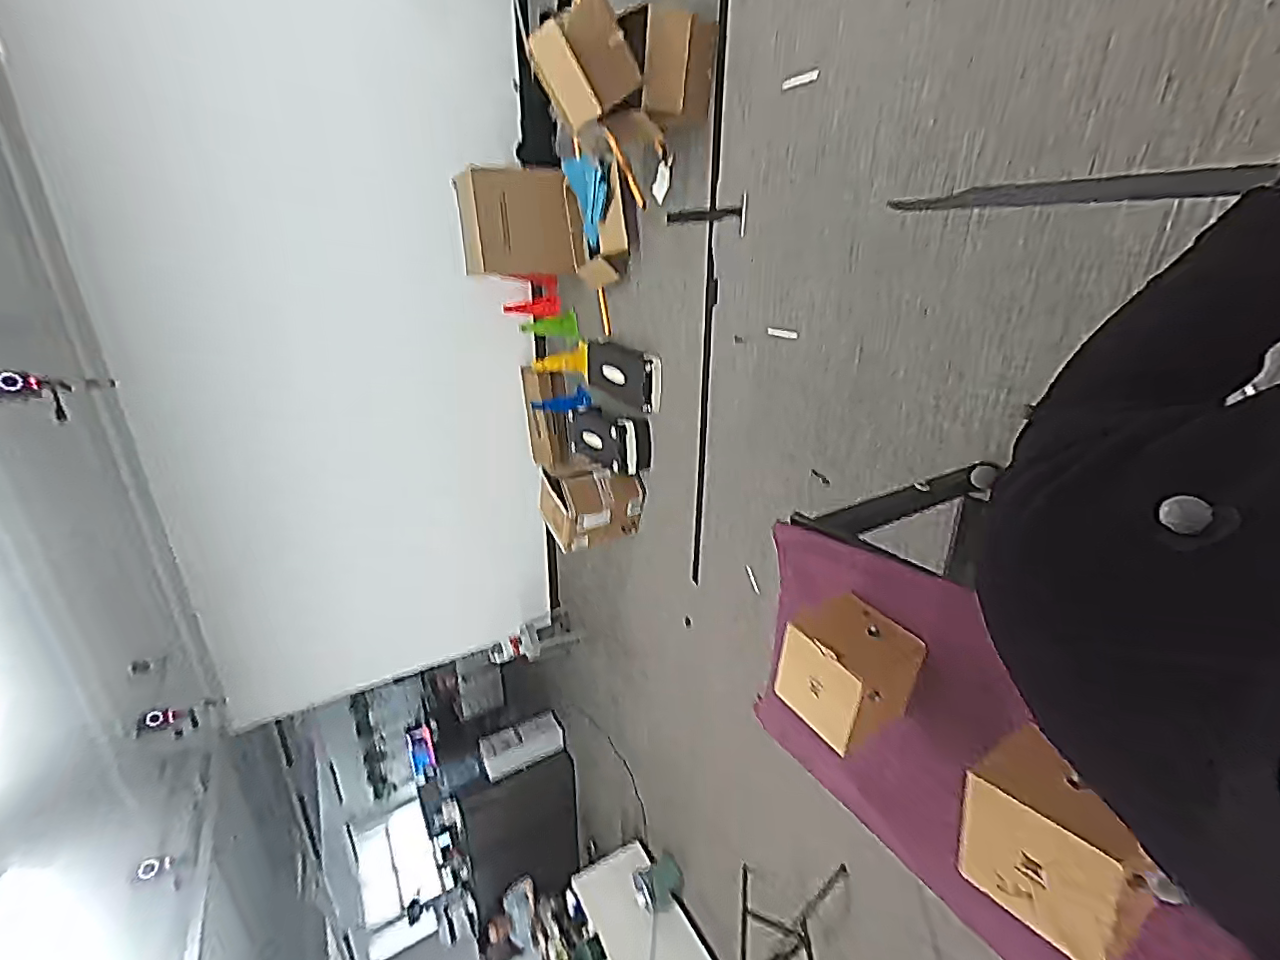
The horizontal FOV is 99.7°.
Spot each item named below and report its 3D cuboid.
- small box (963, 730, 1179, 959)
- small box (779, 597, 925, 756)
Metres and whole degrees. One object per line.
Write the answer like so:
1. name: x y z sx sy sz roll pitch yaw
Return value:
1. small box: 0.556 0.466 0.703 0.168 0.176 0.179 19 117 58
2. small box: 0.377 0.343 0.972 0.168 0.176 0.179 36 132 49
